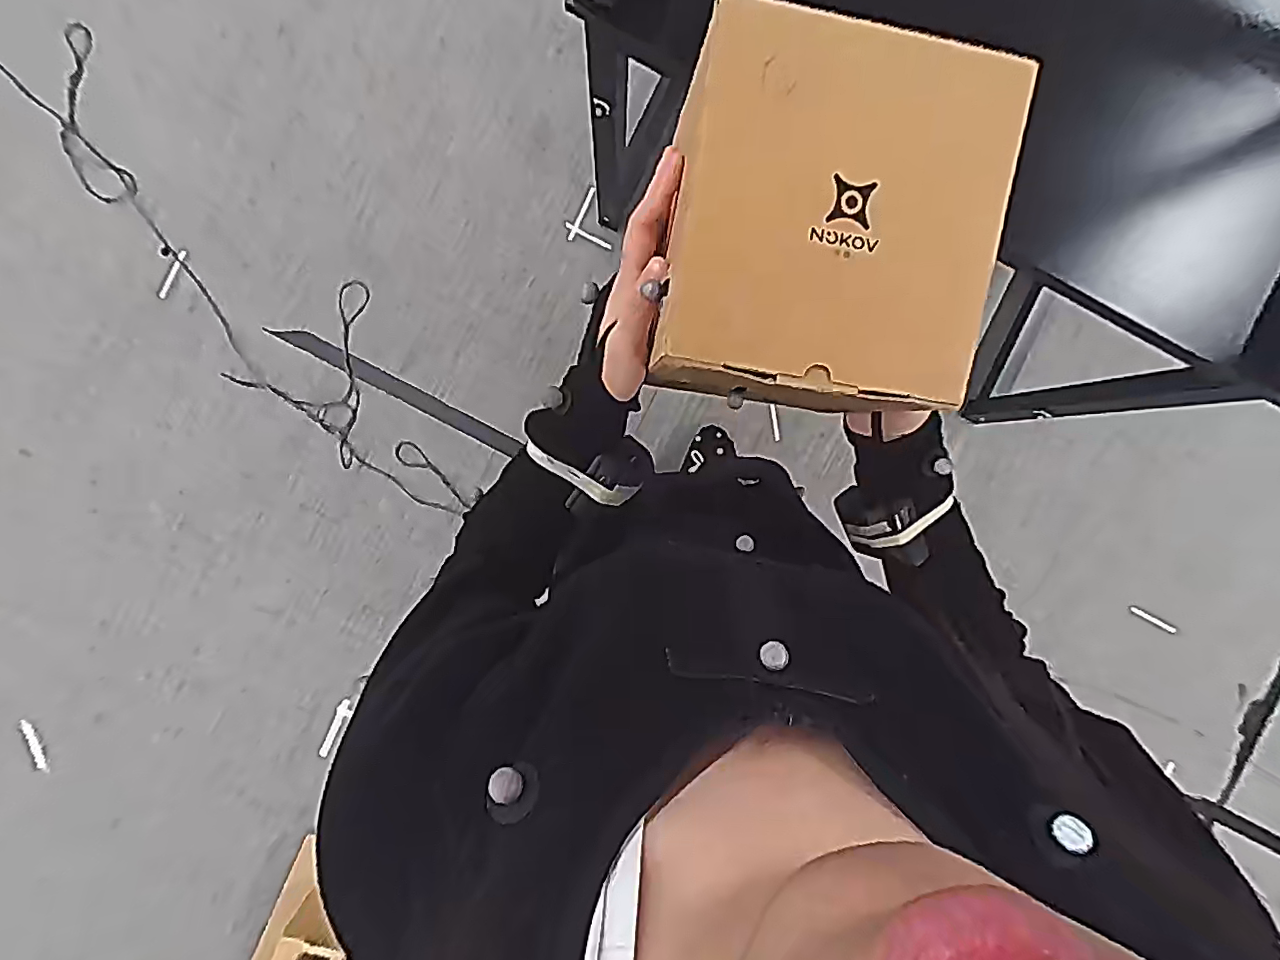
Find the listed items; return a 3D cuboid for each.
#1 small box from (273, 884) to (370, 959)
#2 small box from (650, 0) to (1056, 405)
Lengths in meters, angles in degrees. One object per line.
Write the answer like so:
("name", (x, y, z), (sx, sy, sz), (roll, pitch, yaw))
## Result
("small box", (-0.842, 1.220, 1.422), (0.168, 0.176, 0.179), (21, 92, -4))
("small box", (0.103, -0.146, 0.342), (0.168, 0.176, 0.179), (8, 97, -5))
